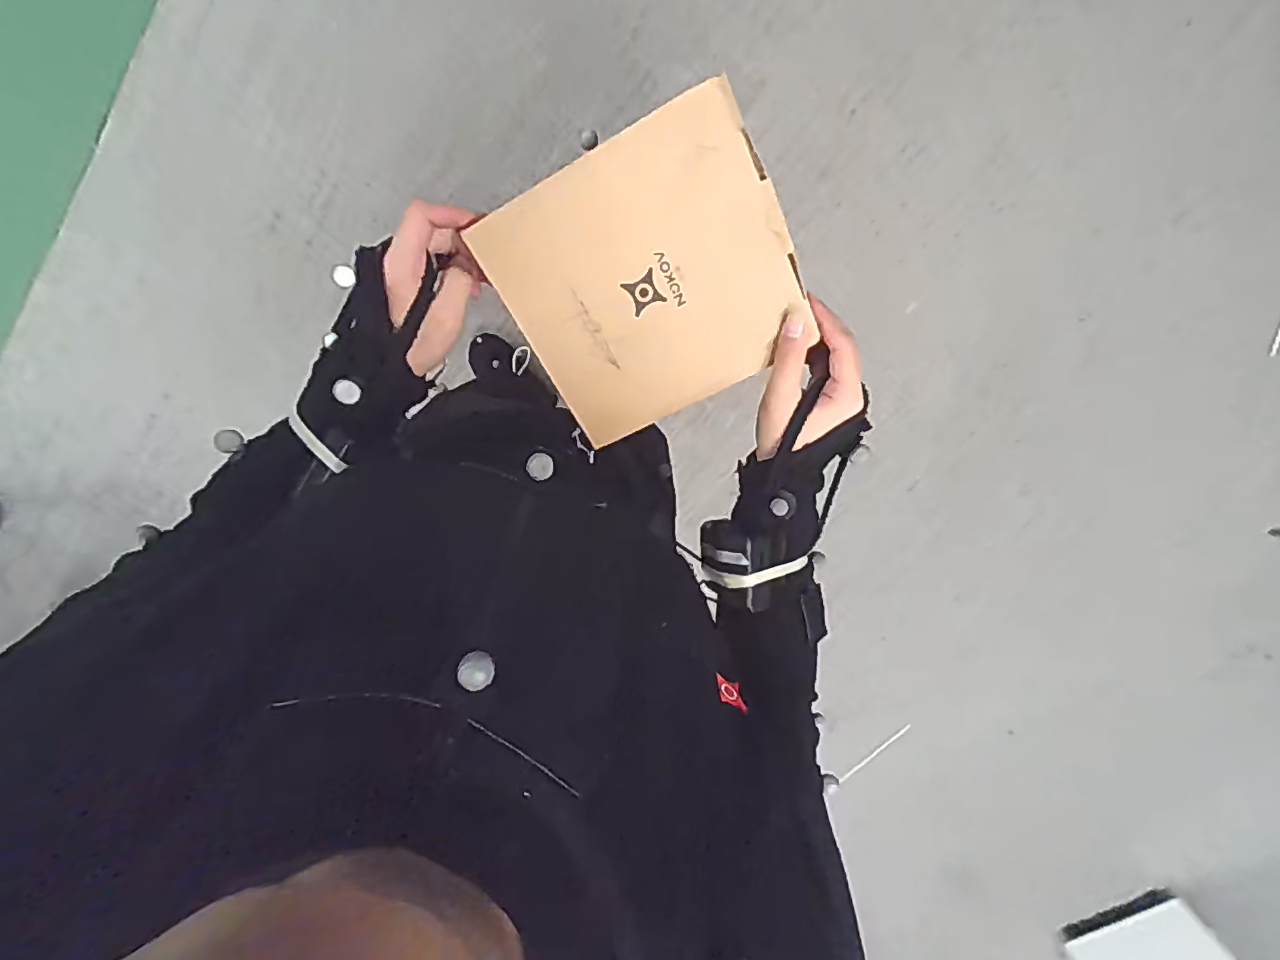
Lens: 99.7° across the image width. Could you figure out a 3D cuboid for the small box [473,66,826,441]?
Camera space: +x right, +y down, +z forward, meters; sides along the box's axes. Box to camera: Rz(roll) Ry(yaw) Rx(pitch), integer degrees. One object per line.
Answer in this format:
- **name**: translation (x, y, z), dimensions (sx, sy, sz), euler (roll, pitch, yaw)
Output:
- **small box**: translation (0.010, -0.163, 0.410), dimensions (0.179, 0.176, 0.168), euler (-26, 114, 14)
